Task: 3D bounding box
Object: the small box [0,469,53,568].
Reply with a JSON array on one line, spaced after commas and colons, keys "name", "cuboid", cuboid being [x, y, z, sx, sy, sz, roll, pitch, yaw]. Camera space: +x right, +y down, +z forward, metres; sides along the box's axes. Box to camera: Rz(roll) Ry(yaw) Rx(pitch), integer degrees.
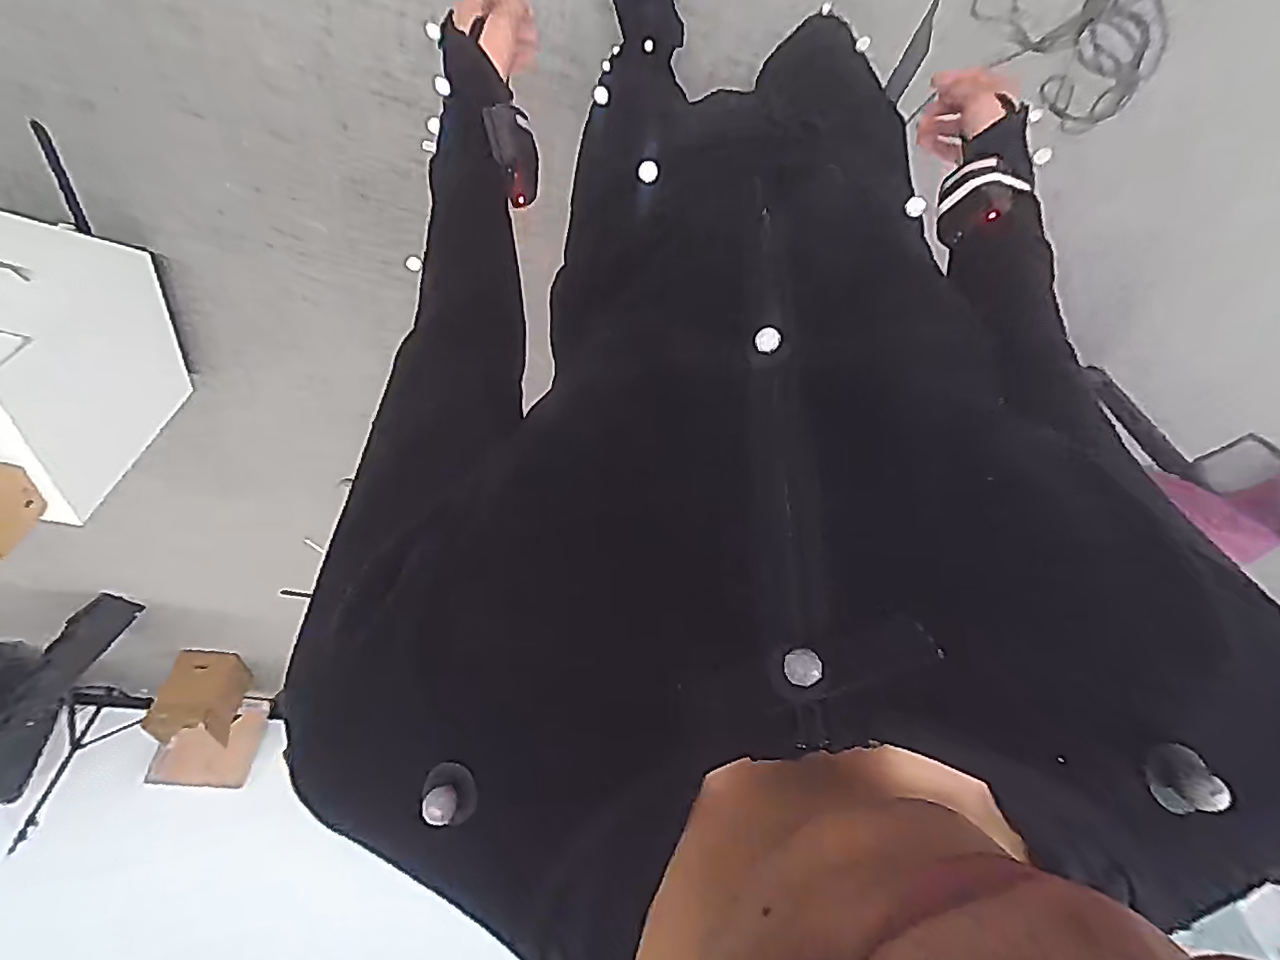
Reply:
[{"name": "small box", "cuboid": [-1.533, 0.074, 1.237, 0.179, 0.176, 0.168, 14, 137, -16]}]
